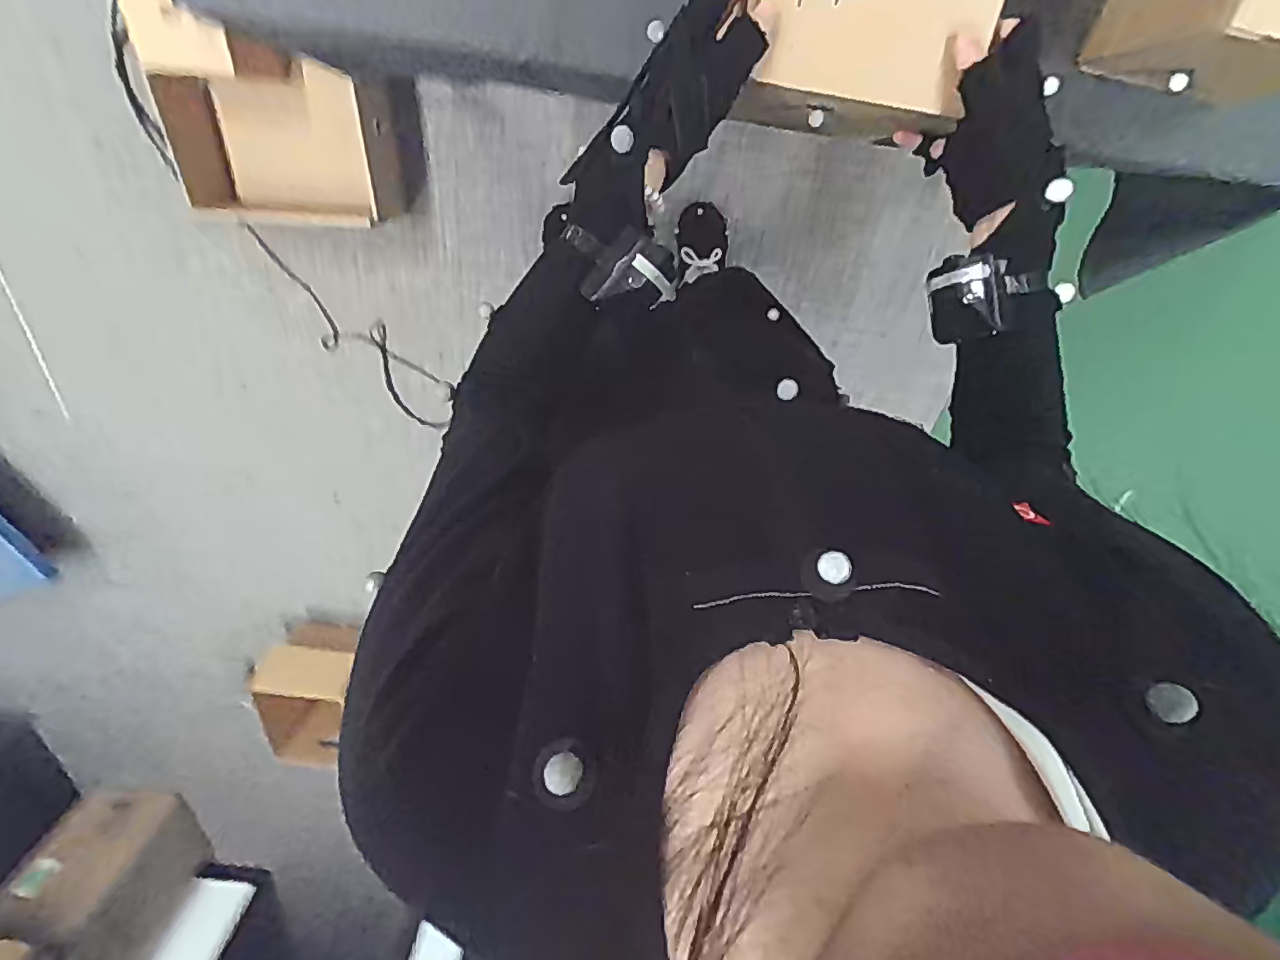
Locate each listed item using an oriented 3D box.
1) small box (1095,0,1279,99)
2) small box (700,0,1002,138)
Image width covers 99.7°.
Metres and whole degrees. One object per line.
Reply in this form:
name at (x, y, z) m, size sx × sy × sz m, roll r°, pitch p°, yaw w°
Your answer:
small box at (0.529, -0.431, 0.429) m, size 0.168 × 0.176 × 0.179 m, roll 10°, pitch 120°, yaw -4°
small box at (0.156, -0.383, 0.423) m, size 0.179 × 0.176 × 0.168 m, roll 4°, pitch 116°, yaw -10°
